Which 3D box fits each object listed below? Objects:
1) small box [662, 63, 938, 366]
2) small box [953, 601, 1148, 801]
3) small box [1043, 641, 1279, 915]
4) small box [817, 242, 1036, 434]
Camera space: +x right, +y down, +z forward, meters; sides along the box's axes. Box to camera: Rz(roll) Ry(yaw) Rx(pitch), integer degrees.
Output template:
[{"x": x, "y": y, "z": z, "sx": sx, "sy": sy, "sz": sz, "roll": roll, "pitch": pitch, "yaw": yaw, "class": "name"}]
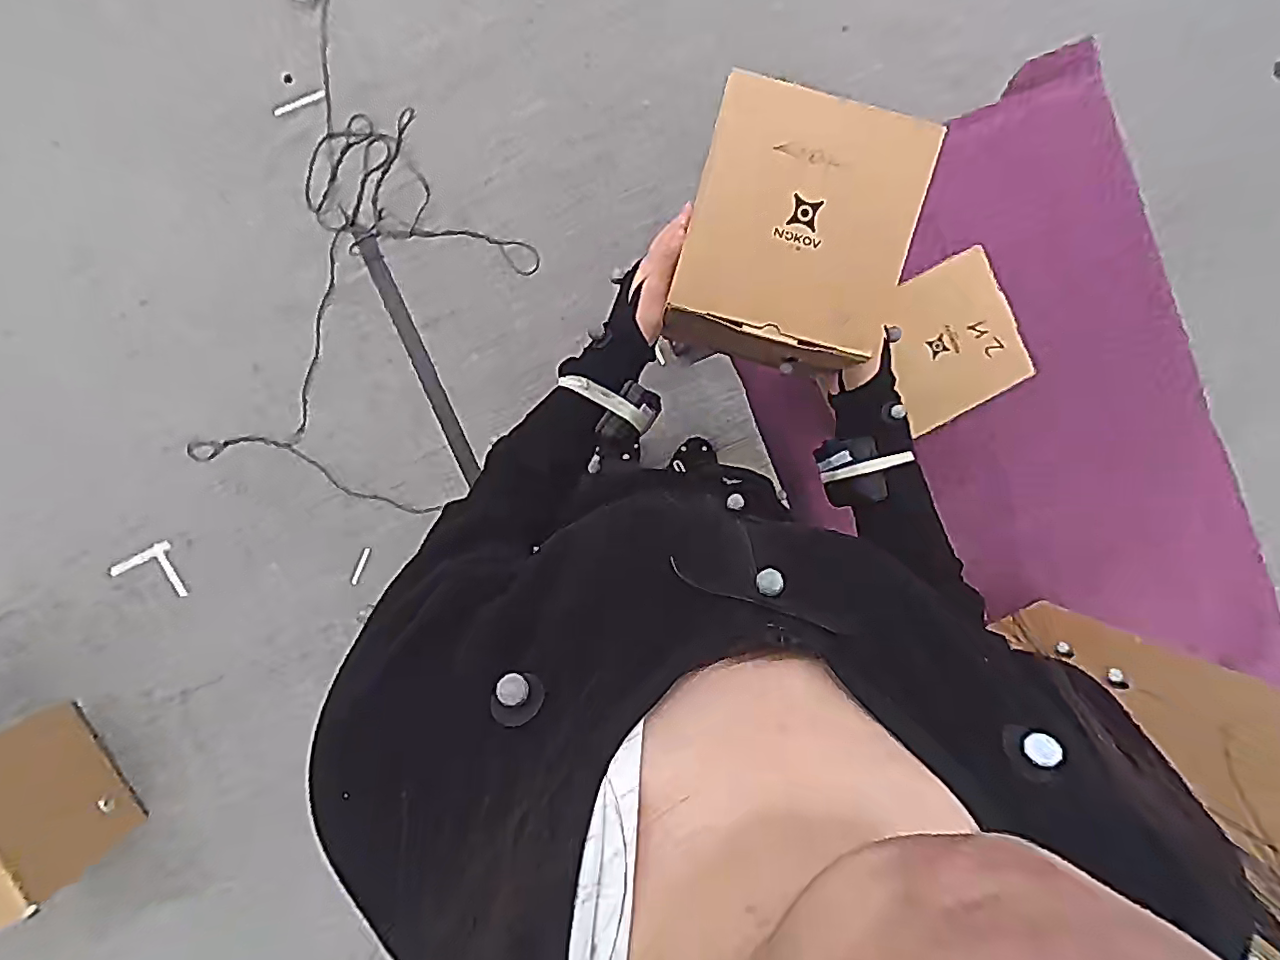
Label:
[{"x": 0.118, "y": -0.208, "z": 0.479, "sx": 0.168, "sy": 0.176, "sz": 0.179, "roll": 14, "pitch": 96, "yaw": -2, "class": "small box"}, {"x": 0.576, "y": 0.294, "z": 0.756, "sx": 0.179, "sy": 0.176, "sz": 0.168, "roll": -24, "pitch": 95, "yaw": -2, "class": "small box"}, {"x": 0.590, "y": 0.306, "z": 0.593, "sx": 0.179, "sy": 0.176, "sz": 0.168, "roll": -23, "pitch": 95, "yaw": -1, "class": "small box"}, {"x": 0.345, "y": -0.167, "z": 0.699, "sx": 0.179, "sy": 0.176, "sz": 0.168, "roll": -28, "pitch": 96, "yaw": -1, "class": "small box"}]
